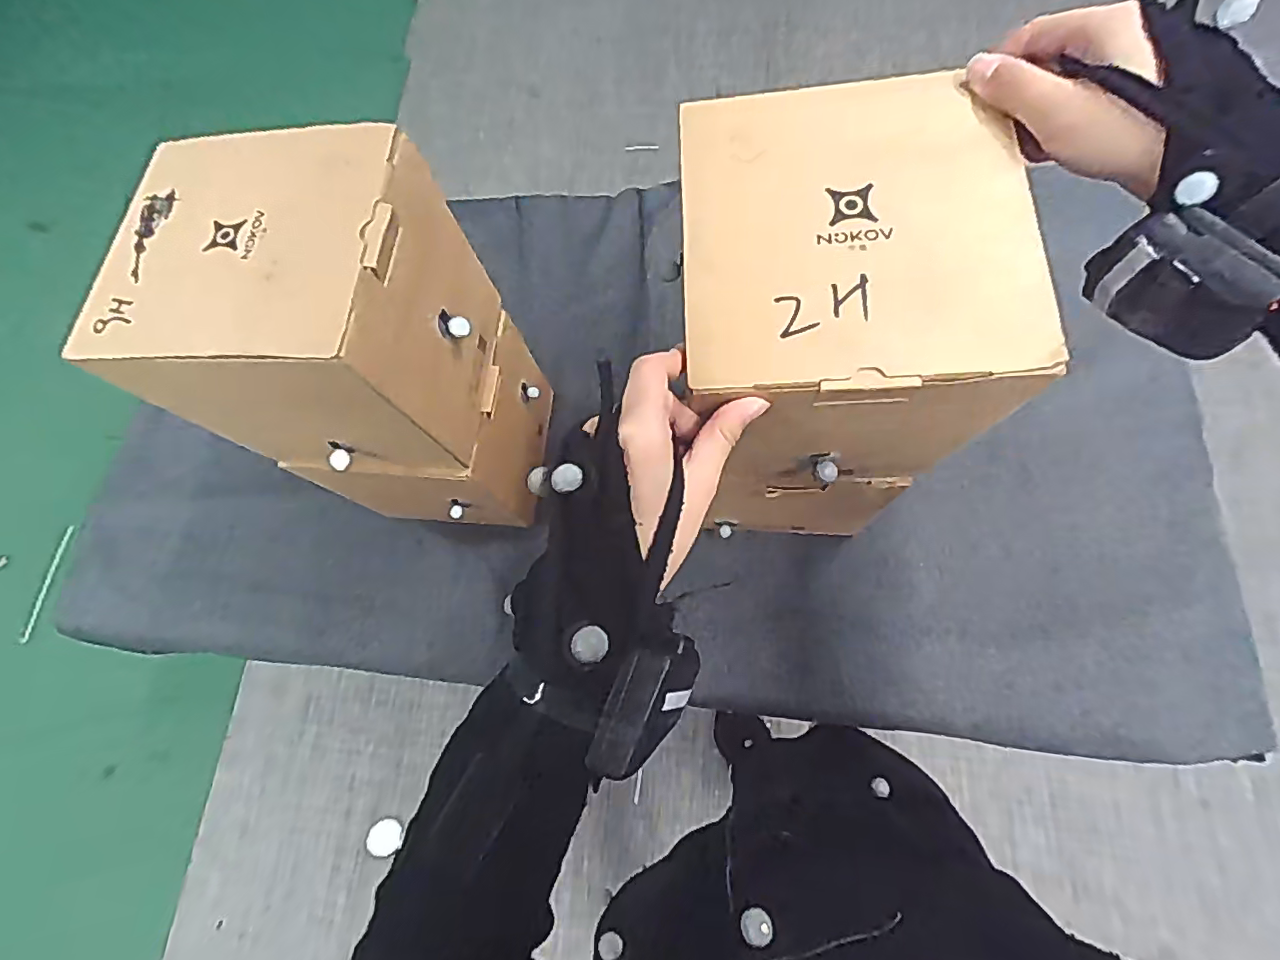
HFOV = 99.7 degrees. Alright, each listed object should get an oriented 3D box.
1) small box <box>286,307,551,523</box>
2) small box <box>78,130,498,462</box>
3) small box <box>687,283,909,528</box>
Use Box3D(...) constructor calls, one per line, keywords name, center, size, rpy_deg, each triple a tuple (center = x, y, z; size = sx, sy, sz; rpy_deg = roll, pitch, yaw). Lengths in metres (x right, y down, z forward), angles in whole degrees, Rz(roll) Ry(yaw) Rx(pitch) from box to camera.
Box3D(name="small box", center=(-0.201, -0.058, 0.550), size=(0.179, 0.176, 0.168), rpy_deg=(2, 70, 9))
Box3D(name="small box", center=(-0.221, -0.118, 0.398), size=(0.179, 0.176, 0.168), rpy_deg=(2, 71, 8))
Box3D(name="small box", center=(0.134, -0.058, 0.506), size=(0.168, 0.176, 0.179), rpy_deg=(2, 71, 7))
